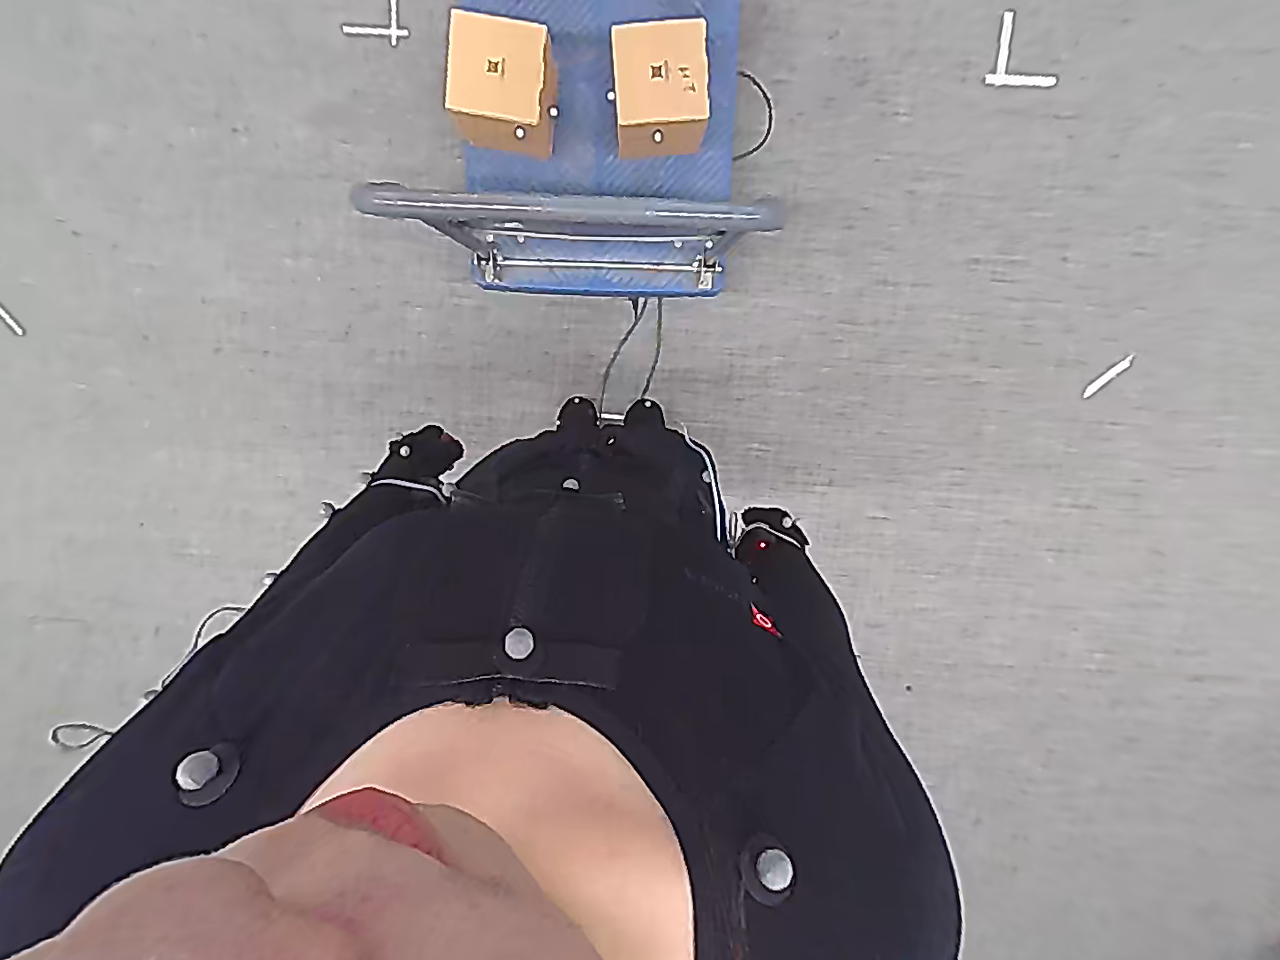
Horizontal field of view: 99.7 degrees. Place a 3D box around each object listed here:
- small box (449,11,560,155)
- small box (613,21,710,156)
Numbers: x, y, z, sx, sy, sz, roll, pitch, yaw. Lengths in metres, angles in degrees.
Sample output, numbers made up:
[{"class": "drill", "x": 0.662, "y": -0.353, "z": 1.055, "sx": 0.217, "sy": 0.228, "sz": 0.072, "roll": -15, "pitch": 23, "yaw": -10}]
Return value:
[{"class": "small box", "x": -0.263, "y": -0.777, "z": 1.078, "sx": 0.179, "sy": 0.176, "sz": 0.168, "roll": 7, "pitch": 101, "yaw": -4}, {"class": "small box", "x": 0.041, "y": -0.771, "z": 1.082, "sx": 0.179, "sy": 0.176, "sz": 0.168, "roll": -4, "pitch": 102, "yaw": 0}]
